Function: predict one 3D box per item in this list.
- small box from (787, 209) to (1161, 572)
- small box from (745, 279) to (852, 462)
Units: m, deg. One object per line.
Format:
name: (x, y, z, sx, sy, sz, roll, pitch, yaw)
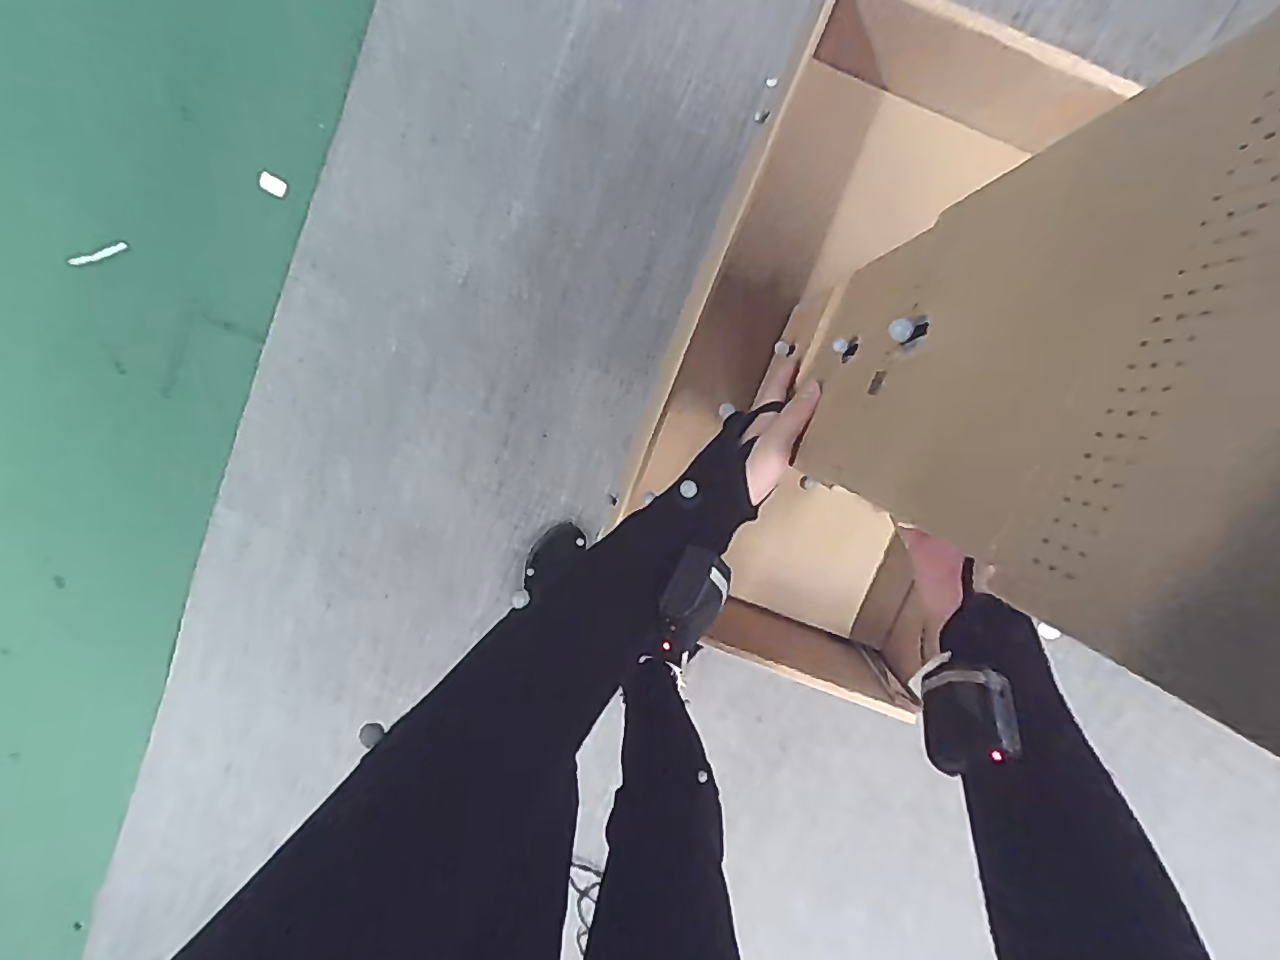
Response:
small box: (0.226, -0.059, 0.402, 0.168, 0.176, 0.179, 22, 99, -3)
small box: (0.226, -0.084, 0.564, 0.179, 0.176, 0.168, 21, 100, -3)
